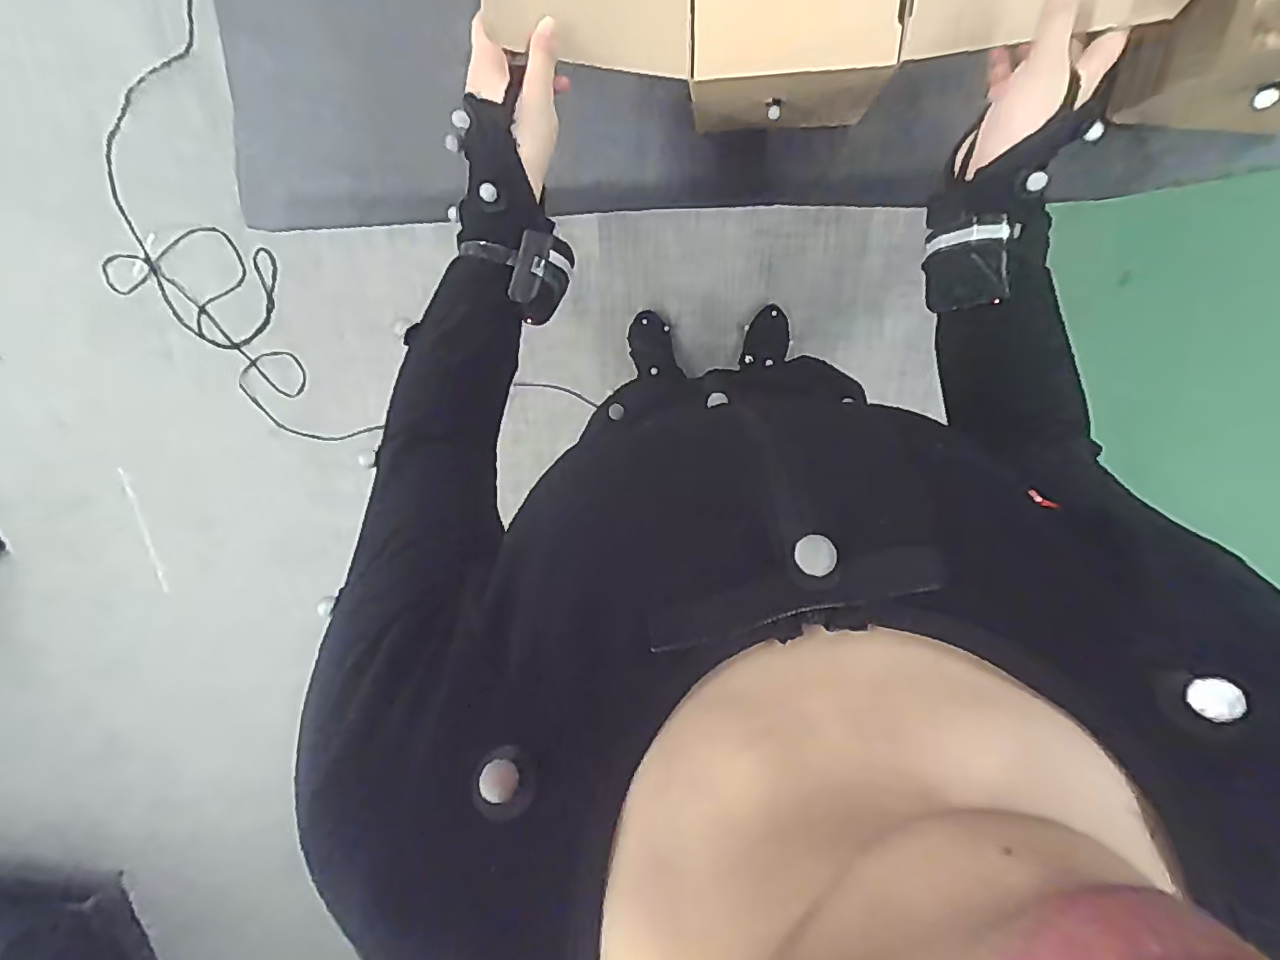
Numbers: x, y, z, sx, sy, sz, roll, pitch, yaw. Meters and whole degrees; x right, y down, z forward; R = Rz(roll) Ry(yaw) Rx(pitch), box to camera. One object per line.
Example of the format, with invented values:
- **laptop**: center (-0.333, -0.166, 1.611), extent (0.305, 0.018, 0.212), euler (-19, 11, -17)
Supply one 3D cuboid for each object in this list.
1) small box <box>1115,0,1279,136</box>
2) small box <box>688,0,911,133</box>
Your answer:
- **small box**: center (0.566, -0.411, 0.454), extent (0.179, 0.176, 0.168), euler (8, 107, 5)
- **small box**: center (0.139, -0.438, 0.499), extent (0.179, 0.176, 0.168), euler (3, 109, 9)
